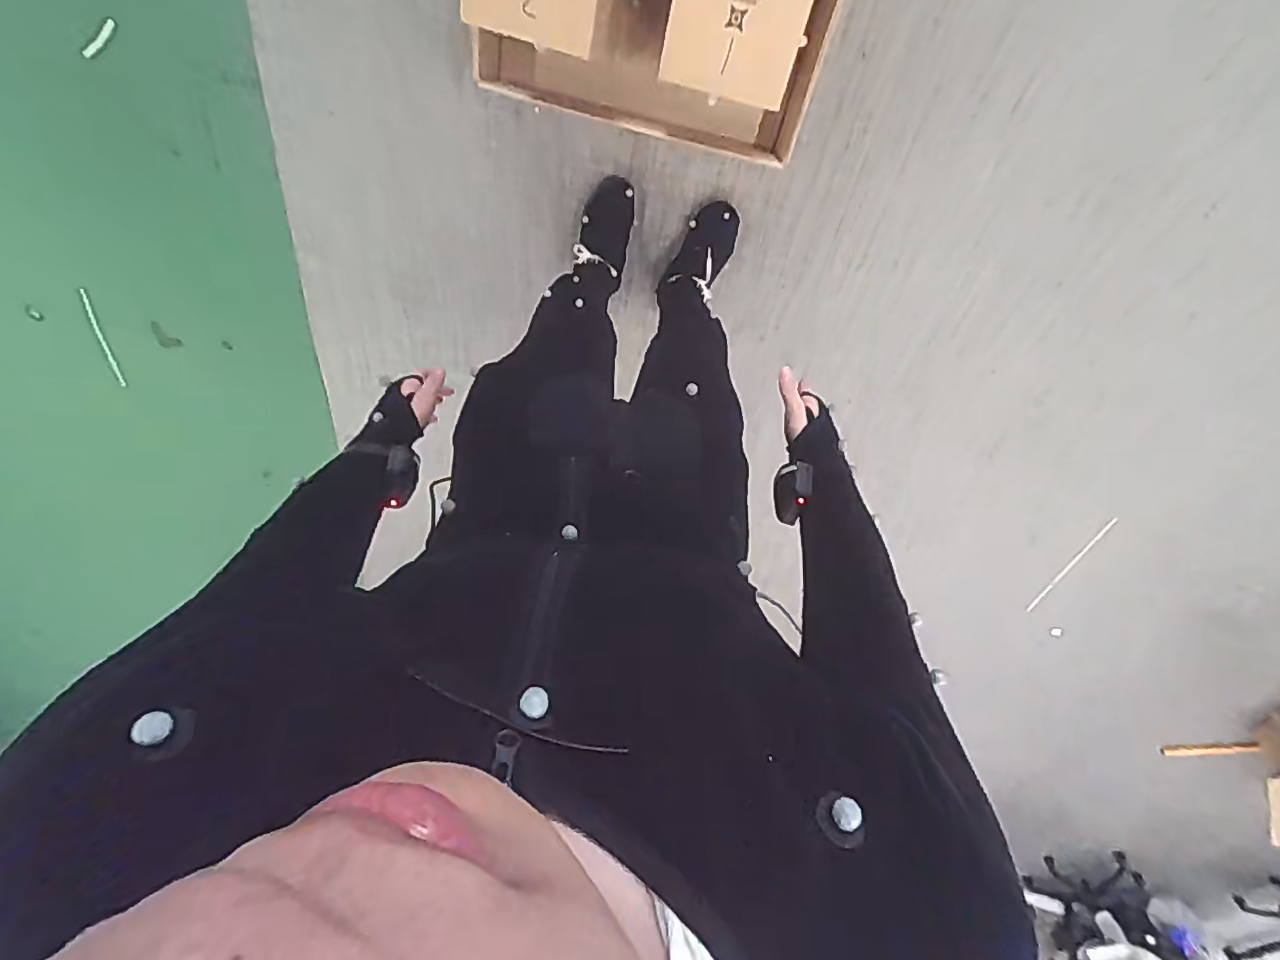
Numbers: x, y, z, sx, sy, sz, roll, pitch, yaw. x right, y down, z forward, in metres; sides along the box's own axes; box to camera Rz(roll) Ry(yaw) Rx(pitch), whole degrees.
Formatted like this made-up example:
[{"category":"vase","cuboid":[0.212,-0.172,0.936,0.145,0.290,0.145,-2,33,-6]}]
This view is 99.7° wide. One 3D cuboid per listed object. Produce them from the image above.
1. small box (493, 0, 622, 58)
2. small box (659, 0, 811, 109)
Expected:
[{"category":"small box","cuboid":[-0.112,-0.777,0.824,0.168,0.176,0.179,15,127,-7]},{"category":"small box","cuboid":[0.127,-0.624,0.720,0.168,0.176,0.179,13,128,-3]}]
